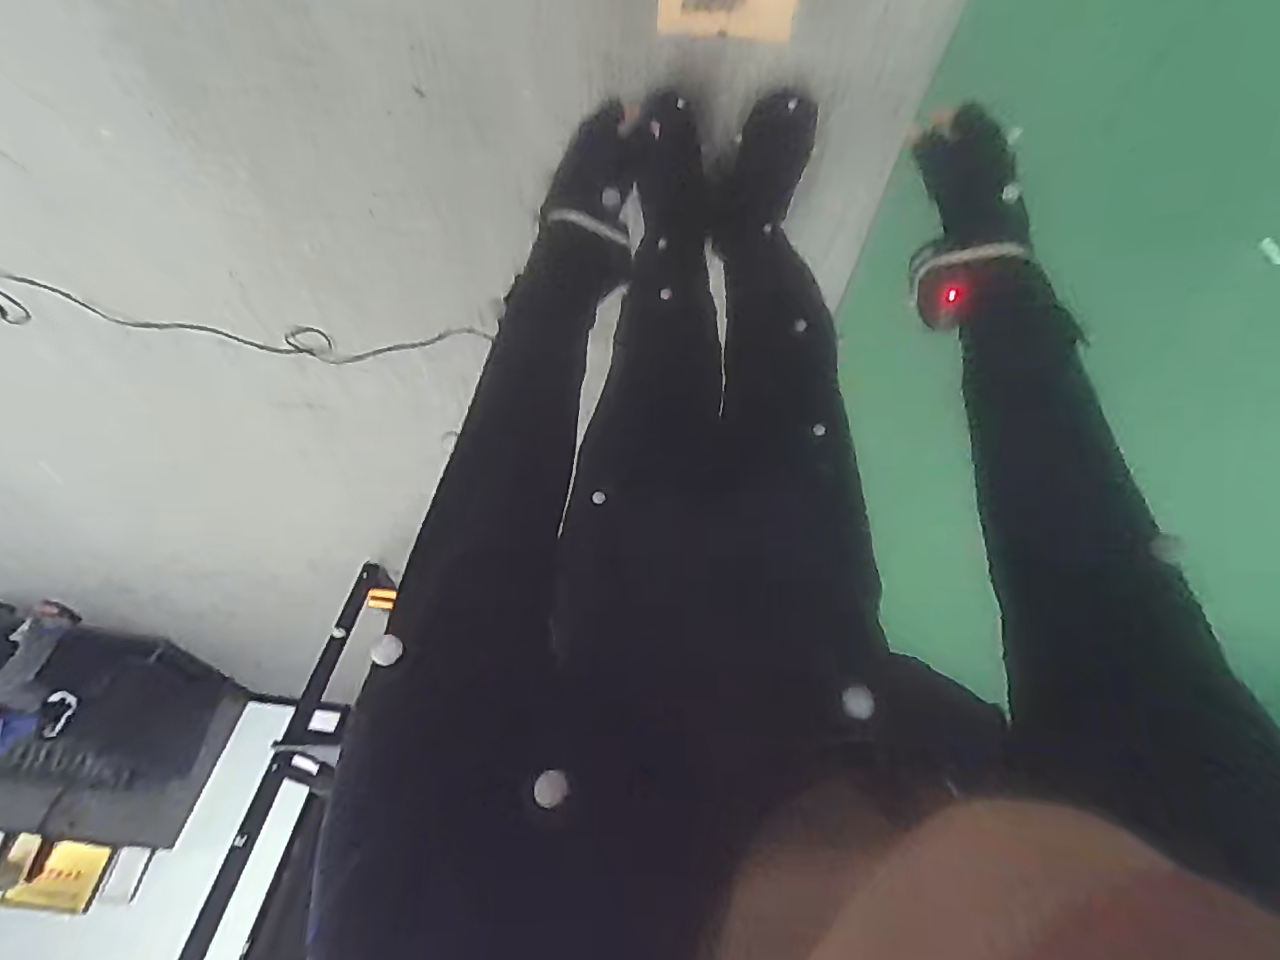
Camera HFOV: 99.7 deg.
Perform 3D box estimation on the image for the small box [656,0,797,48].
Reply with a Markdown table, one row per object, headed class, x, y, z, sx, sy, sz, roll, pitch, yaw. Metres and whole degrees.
| class | x | y | z | sx | sy | sz | roll | pitch | yaw |
| --- | --- | --- | --- | --- | --- | --- | --- | --- | --- |
| small box | 0.114 | -0.657 | 0.646 | 0.168 | 0.176 | 0.179 | 6 | 142 | 1 |
